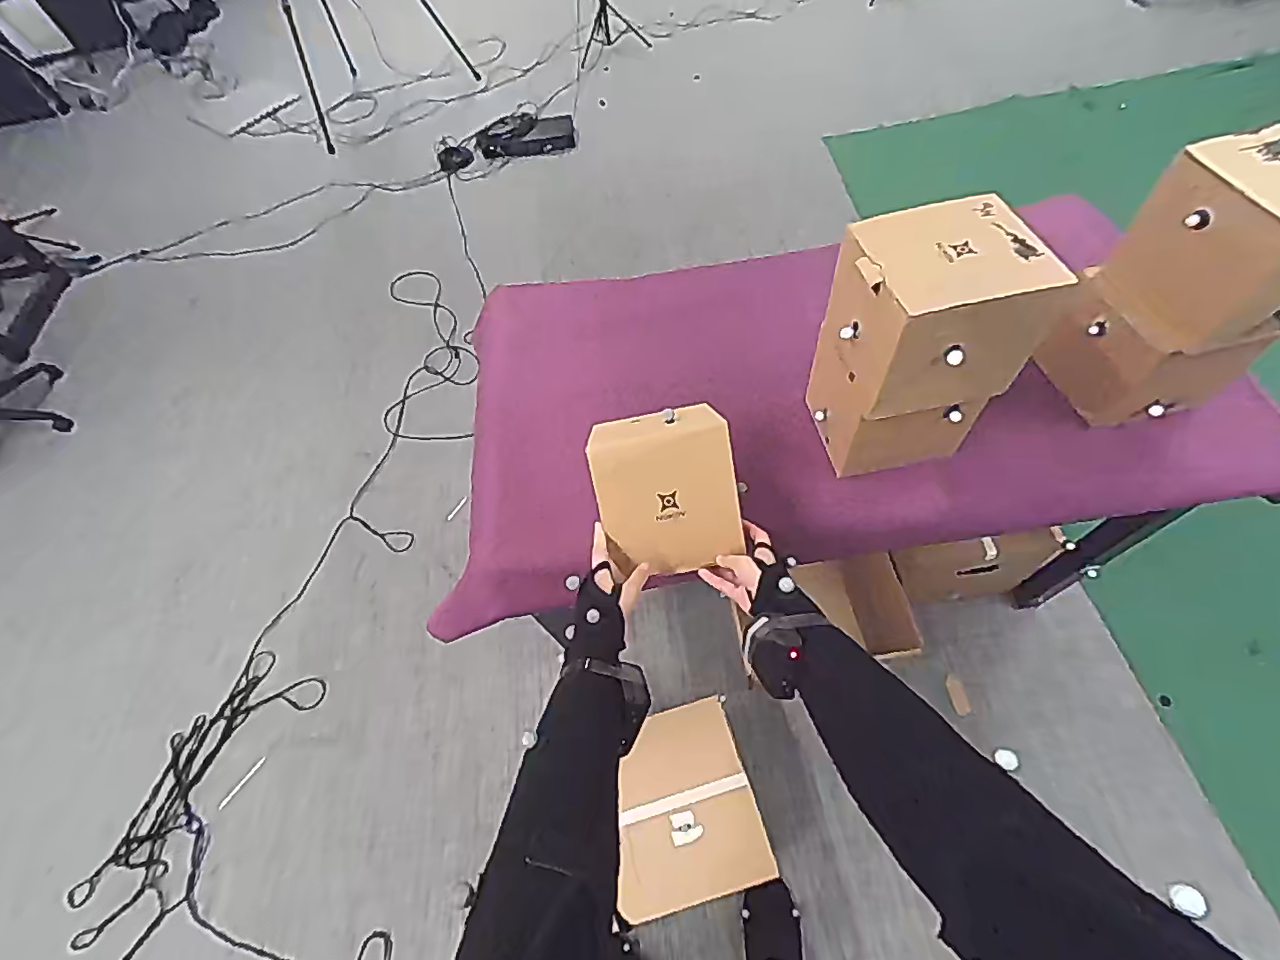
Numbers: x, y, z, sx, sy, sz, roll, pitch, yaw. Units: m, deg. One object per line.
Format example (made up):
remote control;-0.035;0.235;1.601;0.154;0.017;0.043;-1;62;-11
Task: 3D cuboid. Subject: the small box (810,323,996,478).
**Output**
small box;0.363;-0.123;0.783;0.179;0.176;0.168;-11;56;2

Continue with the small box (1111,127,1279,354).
small box;0.717;-0.277;0.628;0.168;0.176;0.179;-13;57;3

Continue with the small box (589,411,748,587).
small box;0.032;0.012;0.706;0.168;0.179;0.176;-12;16;1

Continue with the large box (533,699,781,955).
large box;0.032;0.697;1.115;0.408;0.320;0.320;-16;57;-2

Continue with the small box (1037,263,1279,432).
small box;0.722;-0.197;0.772;0.168;0.176;0.179;-13;56;2

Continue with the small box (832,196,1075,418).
small box;0.339;-0.194;0.636;0.179;0.176;0.168;-12;56;2
